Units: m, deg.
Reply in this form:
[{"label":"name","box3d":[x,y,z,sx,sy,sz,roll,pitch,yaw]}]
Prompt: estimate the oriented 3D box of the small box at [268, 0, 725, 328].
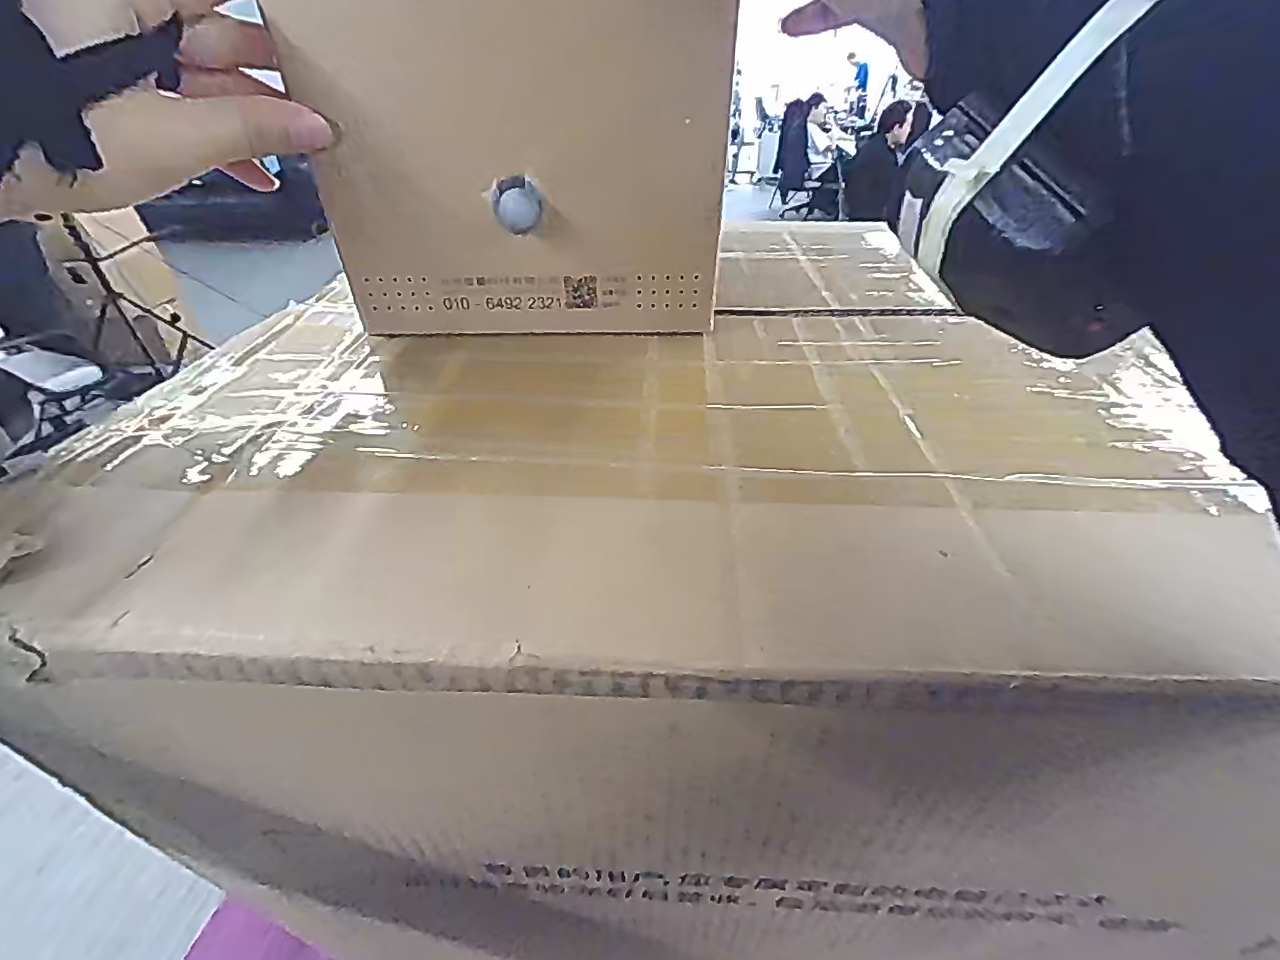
[{"label":"small box","box3d":[-0.054,-0.187,0.268,0.168,0.176,0.179,-1,38,0]}]
